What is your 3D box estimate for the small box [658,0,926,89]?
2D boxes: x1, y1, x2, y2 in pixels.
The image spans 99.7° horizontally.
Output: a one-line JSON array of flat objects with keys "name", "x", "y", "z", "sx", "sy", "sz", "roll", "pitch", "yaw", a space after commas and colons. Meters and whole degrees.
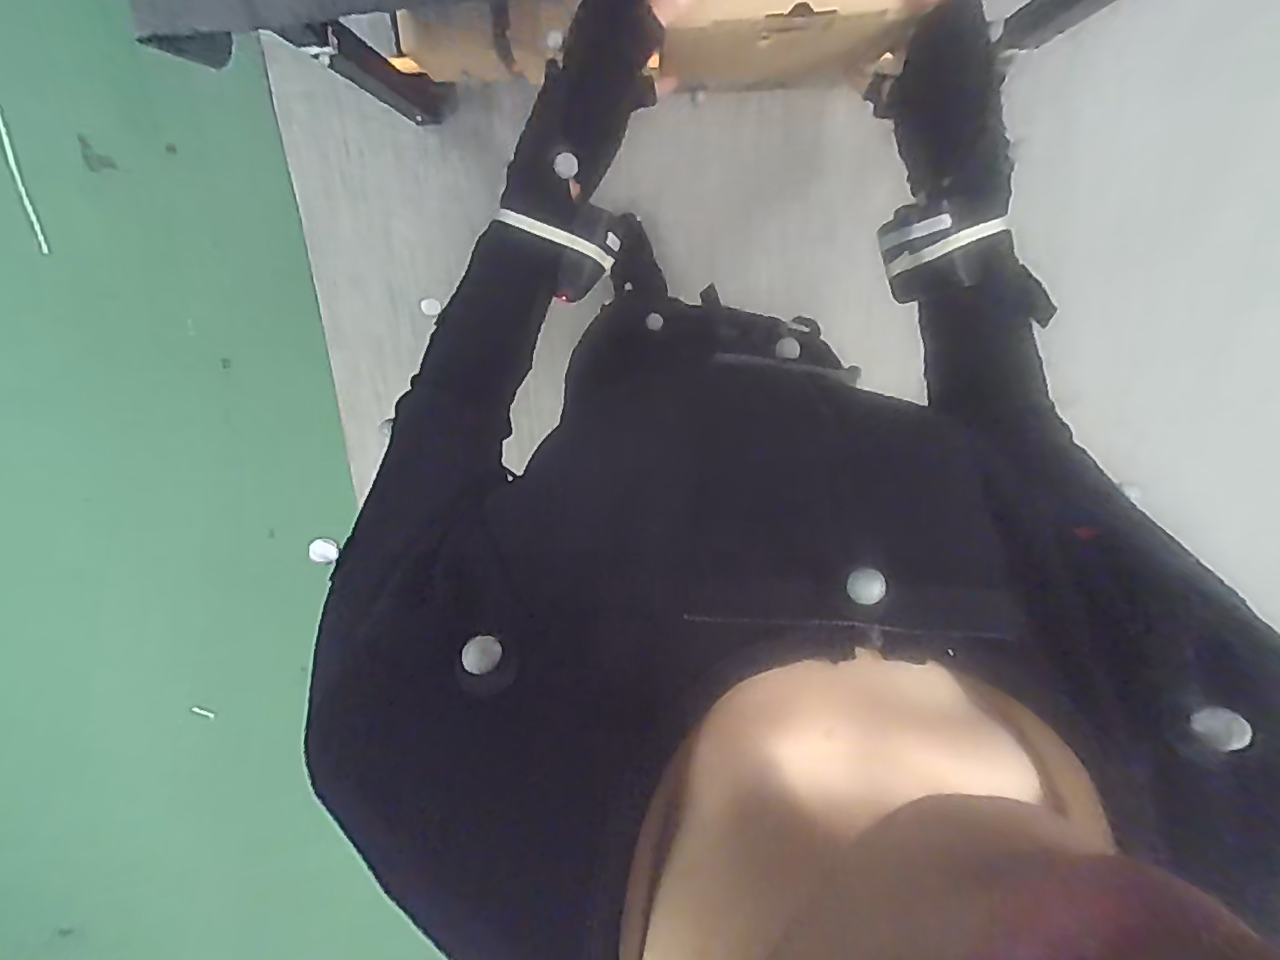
[{"name": "small box", "x": 0.097, "y": -0.398, "z": 0.381, "sx": 0.168, "sy": 0.176, "sz": 0.179, "roll": -1, "pitch": 112, "yaw": 2}]
